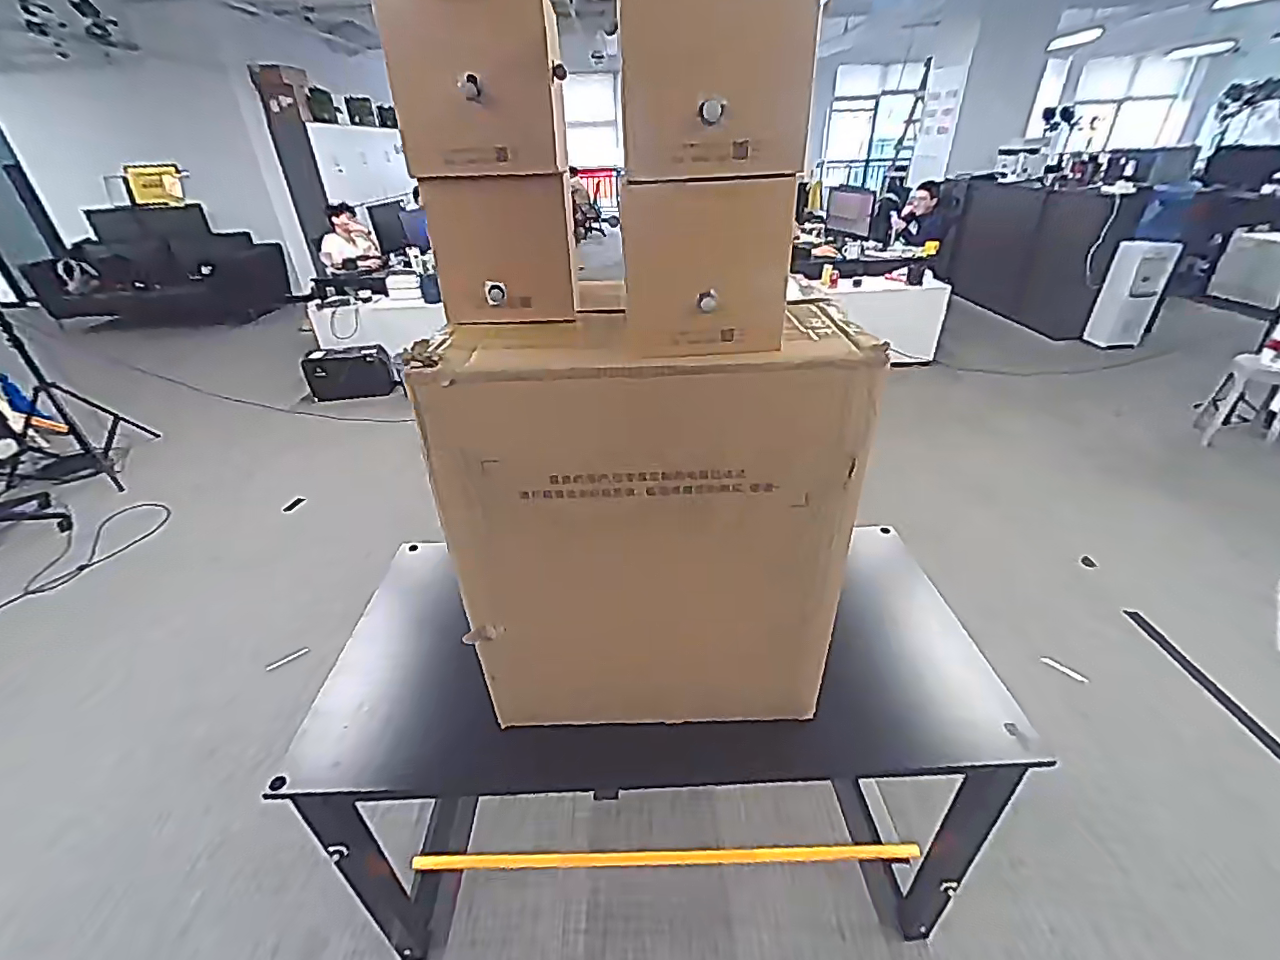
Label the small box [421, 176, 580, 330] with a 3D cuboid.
[{"bbox_3d":[-0.172,-0.307,0.727,0.168,0.176,0.179,-5,32,-3],"label":"small box"}]

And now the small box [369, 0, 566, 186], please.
[{"bbox_3d":[-0.179,-0.439,0.628,0.168,0.176,0.179,-3,32,-2],"label":"small box"}]

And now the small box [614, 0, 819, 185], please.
[{"bbox_3d":[0.061,-0.384,0.524,0.168,0.176,0.179,-4,32,0],"label":"small box"}]

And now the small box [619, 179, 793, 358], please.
[{"bbox_3d":[0.063,-0.247,0.615,0.168,0.176,0.179,-4,32,0],"label":"small box"}]
